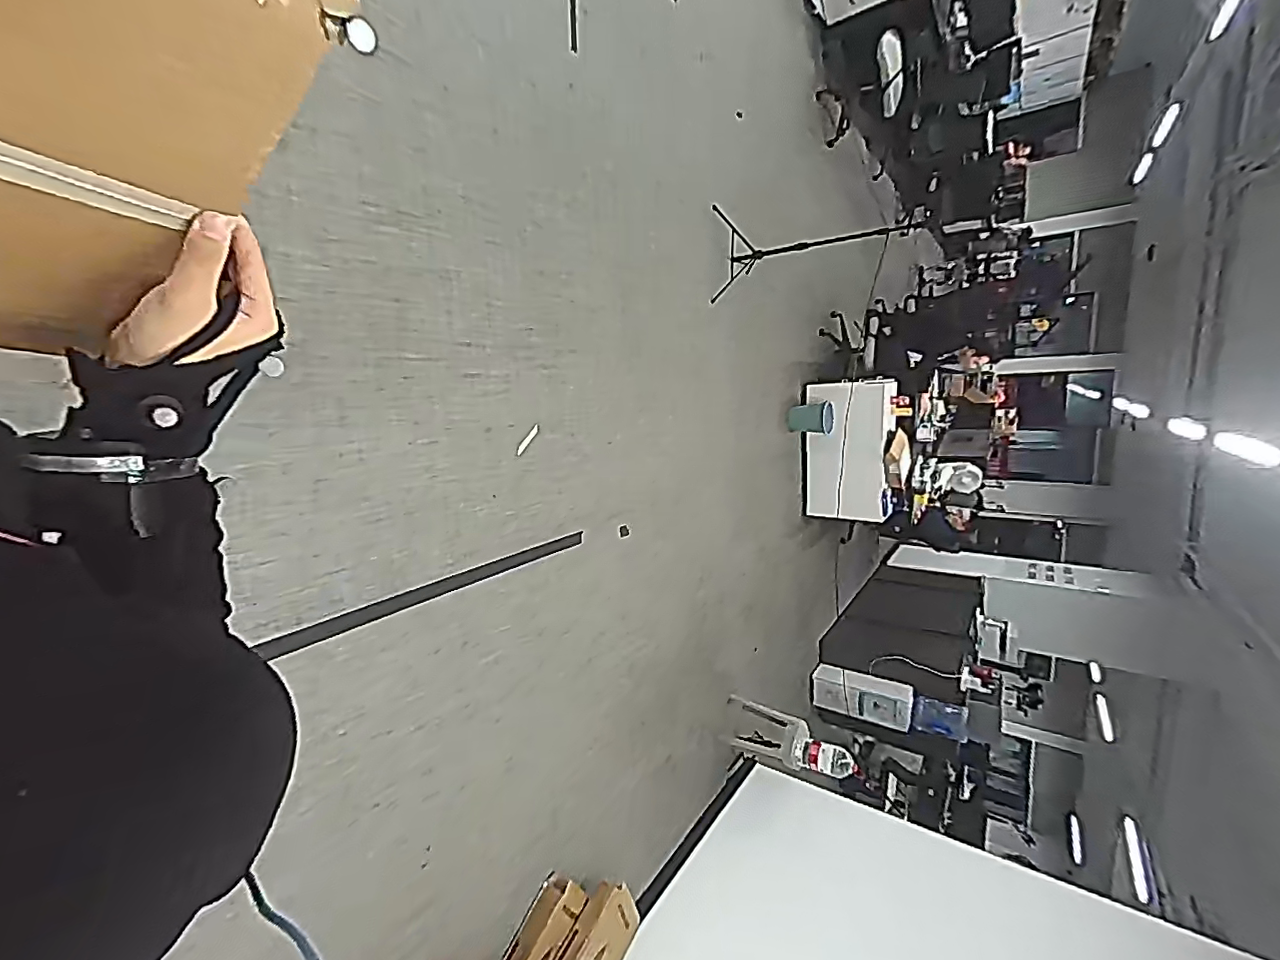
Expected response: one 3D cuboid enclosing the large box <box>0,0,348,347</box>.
[{"bbox_3d":[-0.408,-0.293,0.192,0.408,0.320,0.320,-2,67,-57],"label":"large box"}]
